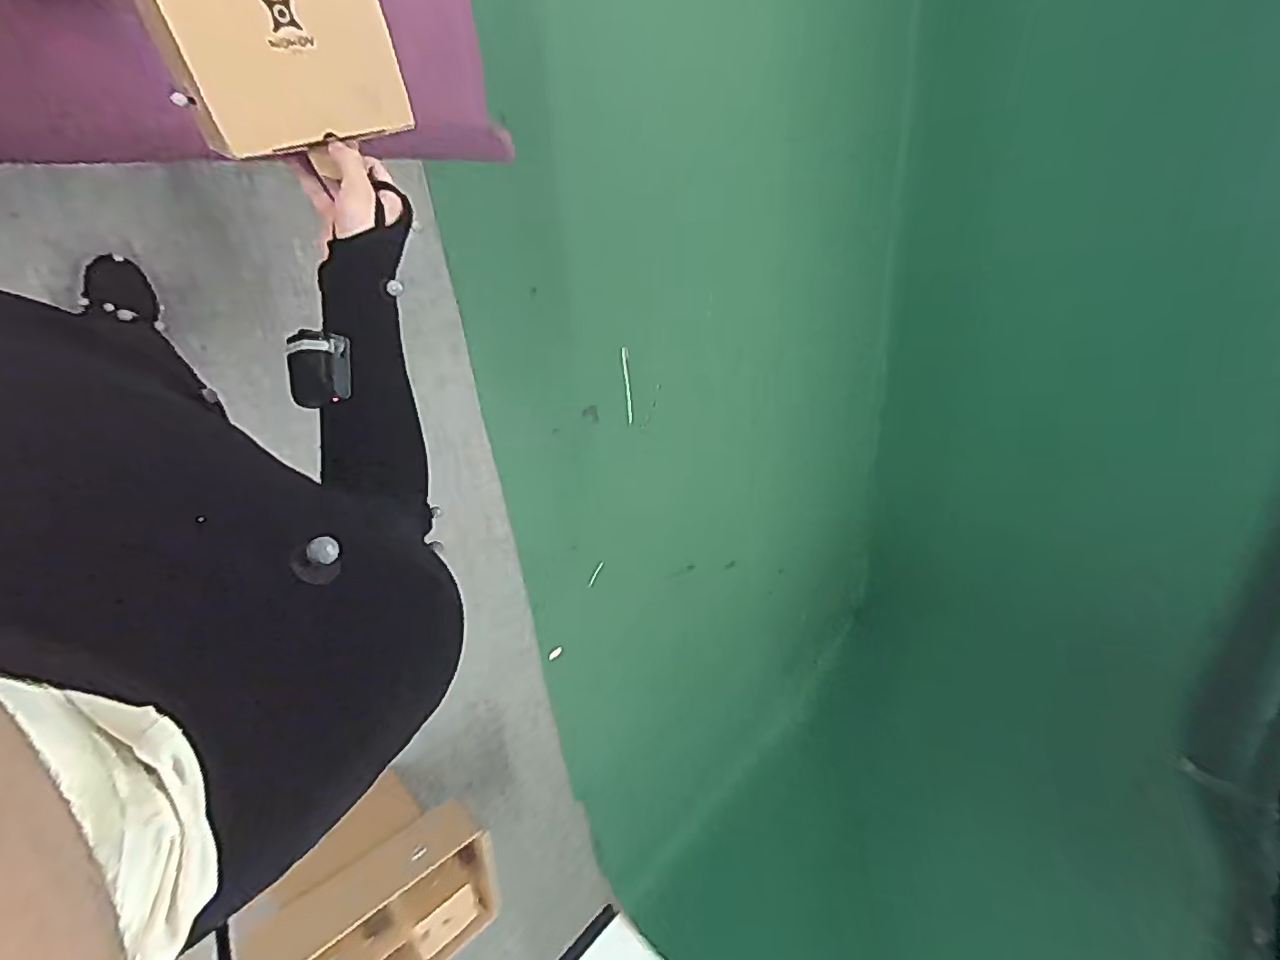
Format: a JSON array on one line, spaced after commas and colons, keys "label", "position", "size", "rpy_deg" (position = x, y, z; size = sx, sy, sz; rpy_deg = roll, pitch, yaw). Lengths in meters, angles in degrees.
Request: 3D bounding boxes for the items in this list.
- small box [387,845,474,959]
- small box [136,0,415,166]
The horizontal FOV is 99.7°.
[{"label": "small box", "position": [-0.630, 1.260, 1.629], "size": [0.179, 0.176, 0.168], "rpy_deg": [-23, 120, -40]}, {"label": "small box", "position": [-0.335, -0.403, 0.488], "size": [0.168, 0.176, 0.179], "rpy_deg": [-30, 135, -27]}]
